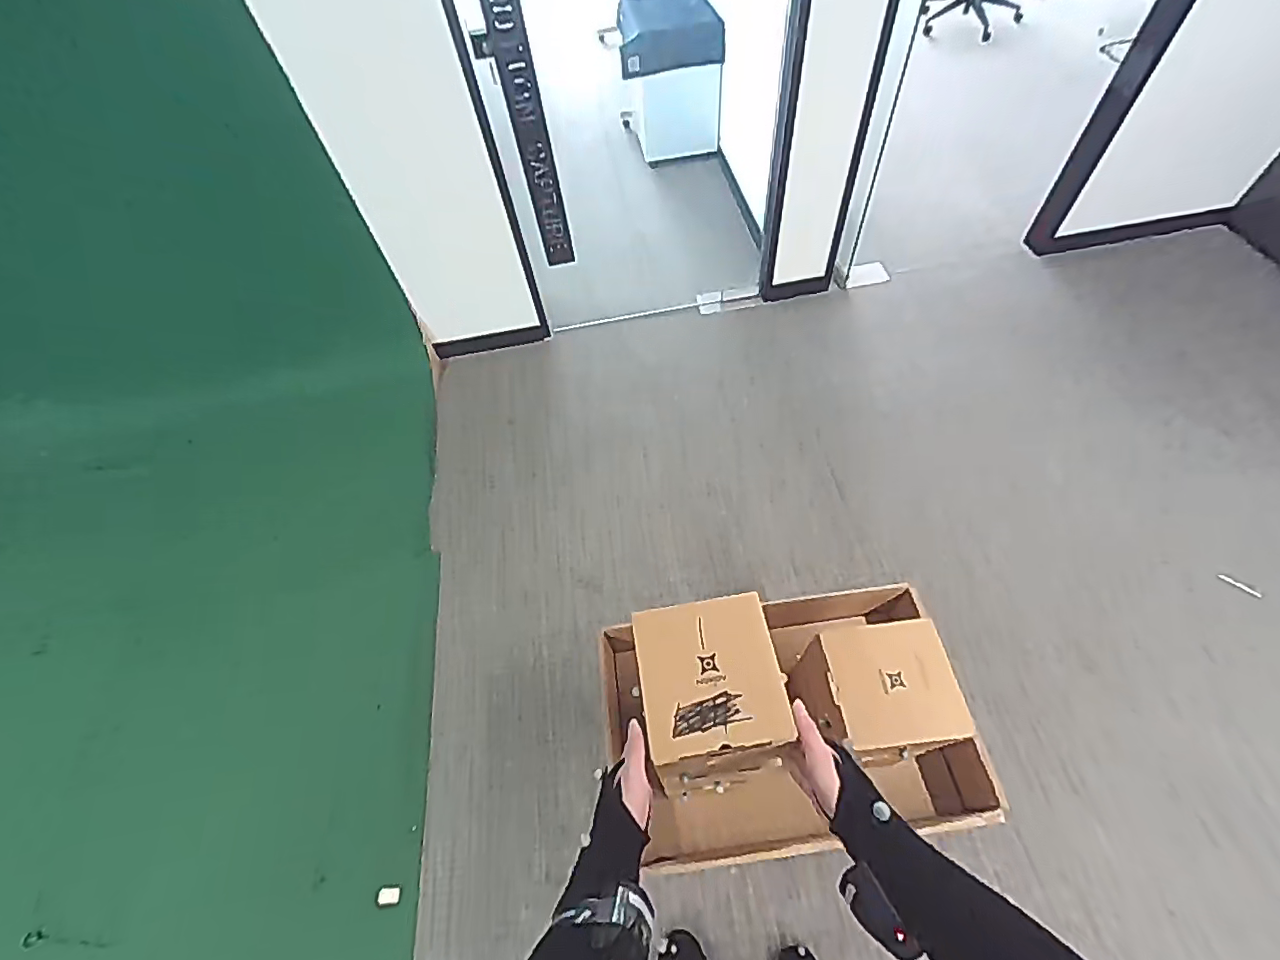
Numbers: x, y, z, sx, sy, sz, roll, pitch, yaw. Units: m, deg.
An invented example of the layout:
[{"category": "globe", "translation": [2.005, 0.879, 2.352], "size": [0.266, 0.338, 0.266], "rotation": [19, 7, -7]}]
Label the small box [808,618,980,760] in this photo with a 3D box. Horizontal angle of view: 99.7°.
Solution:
[{"category": "small box", "translation": [0.368, 0.326, 0.831], "size": [0.179, 0.176, 0.168], "rotation": [-6, 58, 0]}]

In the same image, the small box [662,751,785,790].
[{"category": "small box", "translation": [0.108, 0.360, 0.829], "size": [0.168, 0.176, 0.179], "rotation": [-8, 56, 0]}]

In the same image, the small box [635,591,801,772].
[{"category": "small box", "translation": [0.091, 0.265, 0.695], "size": [0.168, 0.176, 0.179], "rotation": [-9, 55, -1]}]
